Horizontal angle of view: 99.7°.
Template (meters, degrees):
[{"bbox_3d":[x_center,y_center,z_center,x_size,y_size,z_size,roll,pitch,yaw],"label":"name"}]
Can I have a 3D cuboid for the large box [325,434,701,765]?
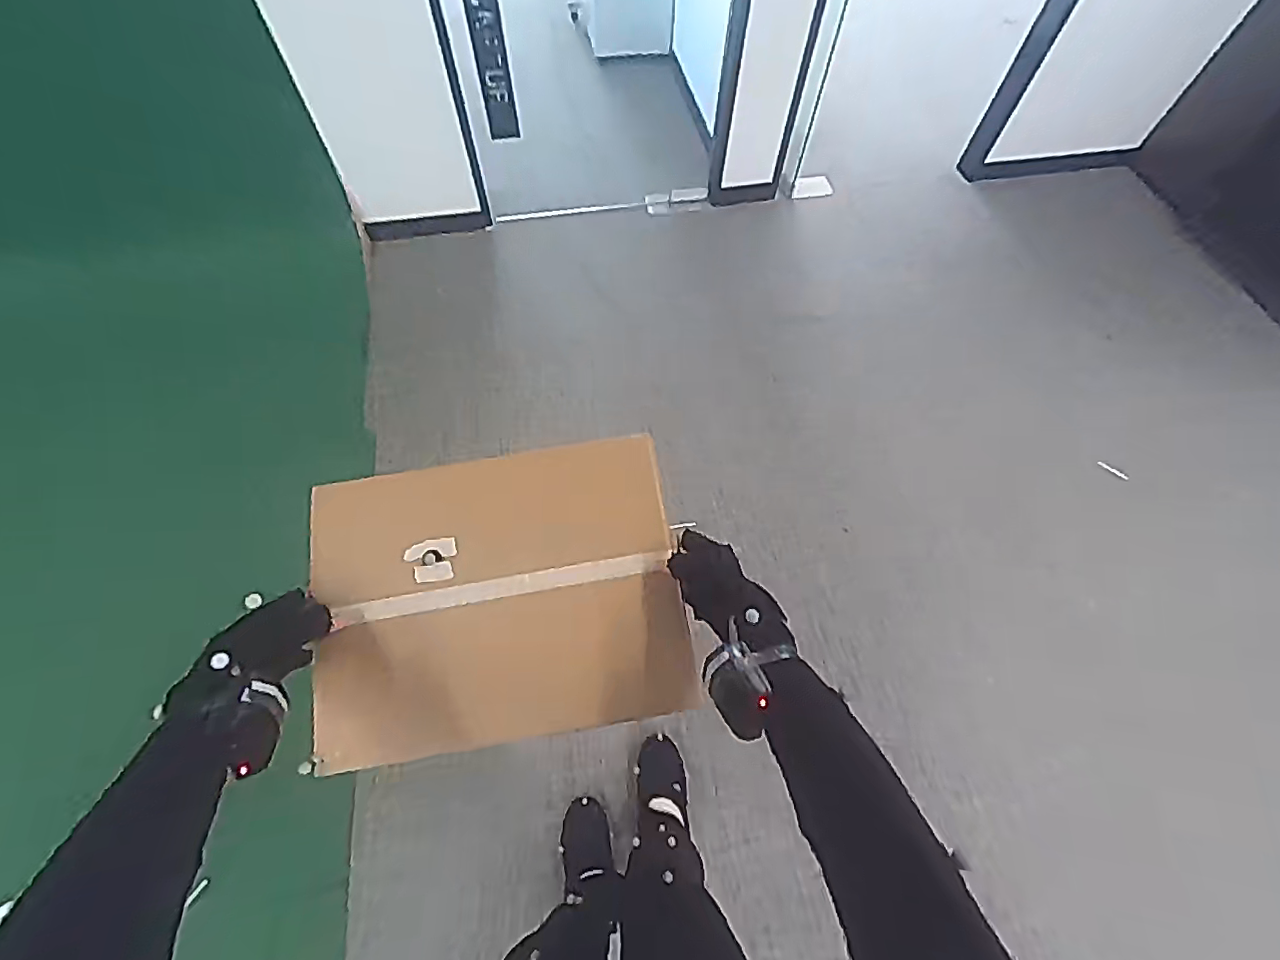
[{"bbox_3d":[-0.152,0.159,0.757,0.408,0.320,0.320,-9,74,-2],"label":"large box"}]
